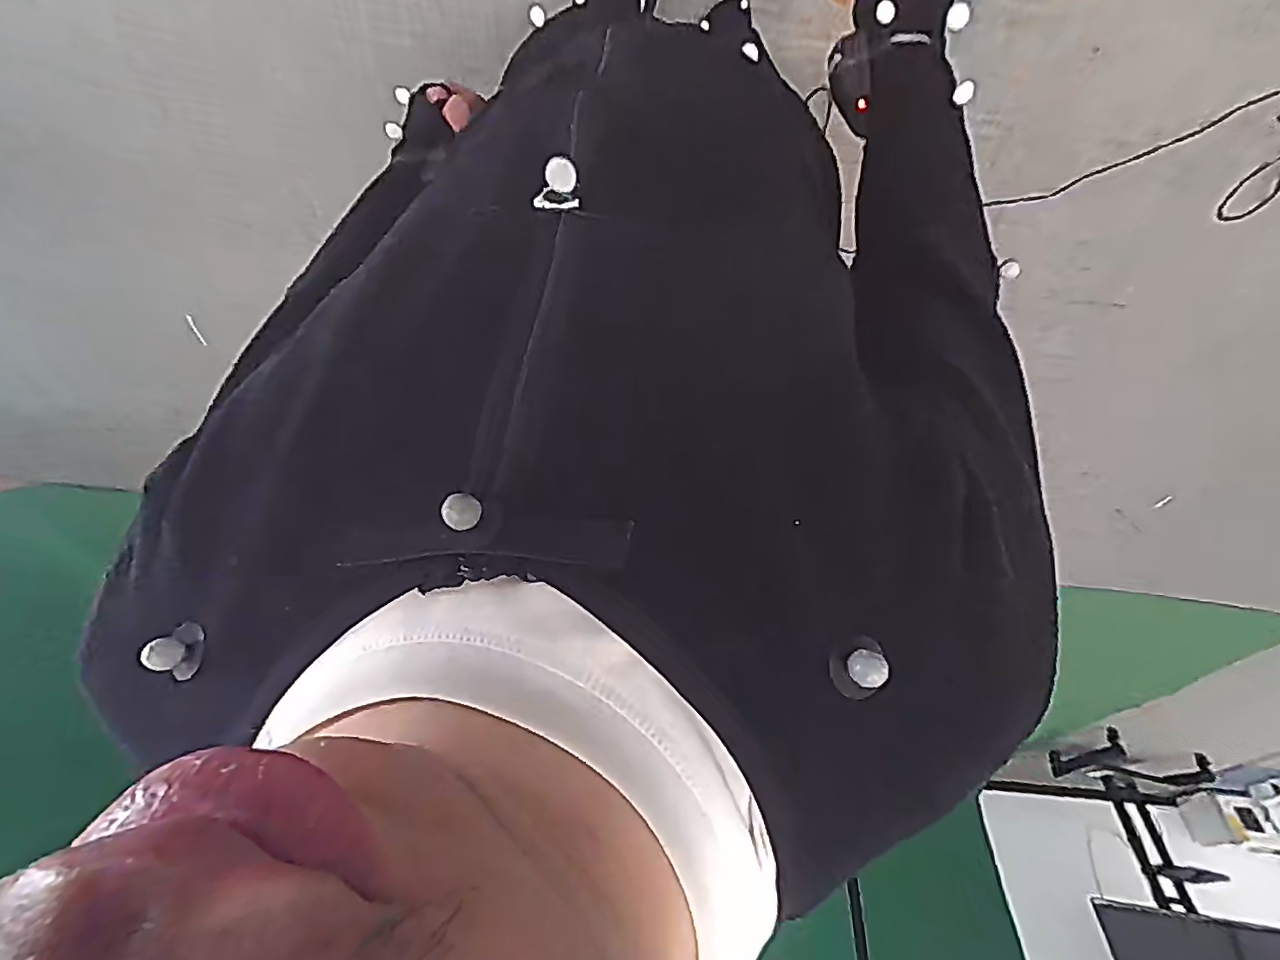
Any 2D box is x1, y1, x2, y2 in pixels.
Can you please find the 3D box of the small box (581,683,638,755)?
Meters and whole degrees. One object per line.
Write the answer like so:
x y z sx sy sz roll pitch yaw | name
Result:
-0.095 0.778 1.764 0.168 0.176 0.179 2 138 5 | small box
